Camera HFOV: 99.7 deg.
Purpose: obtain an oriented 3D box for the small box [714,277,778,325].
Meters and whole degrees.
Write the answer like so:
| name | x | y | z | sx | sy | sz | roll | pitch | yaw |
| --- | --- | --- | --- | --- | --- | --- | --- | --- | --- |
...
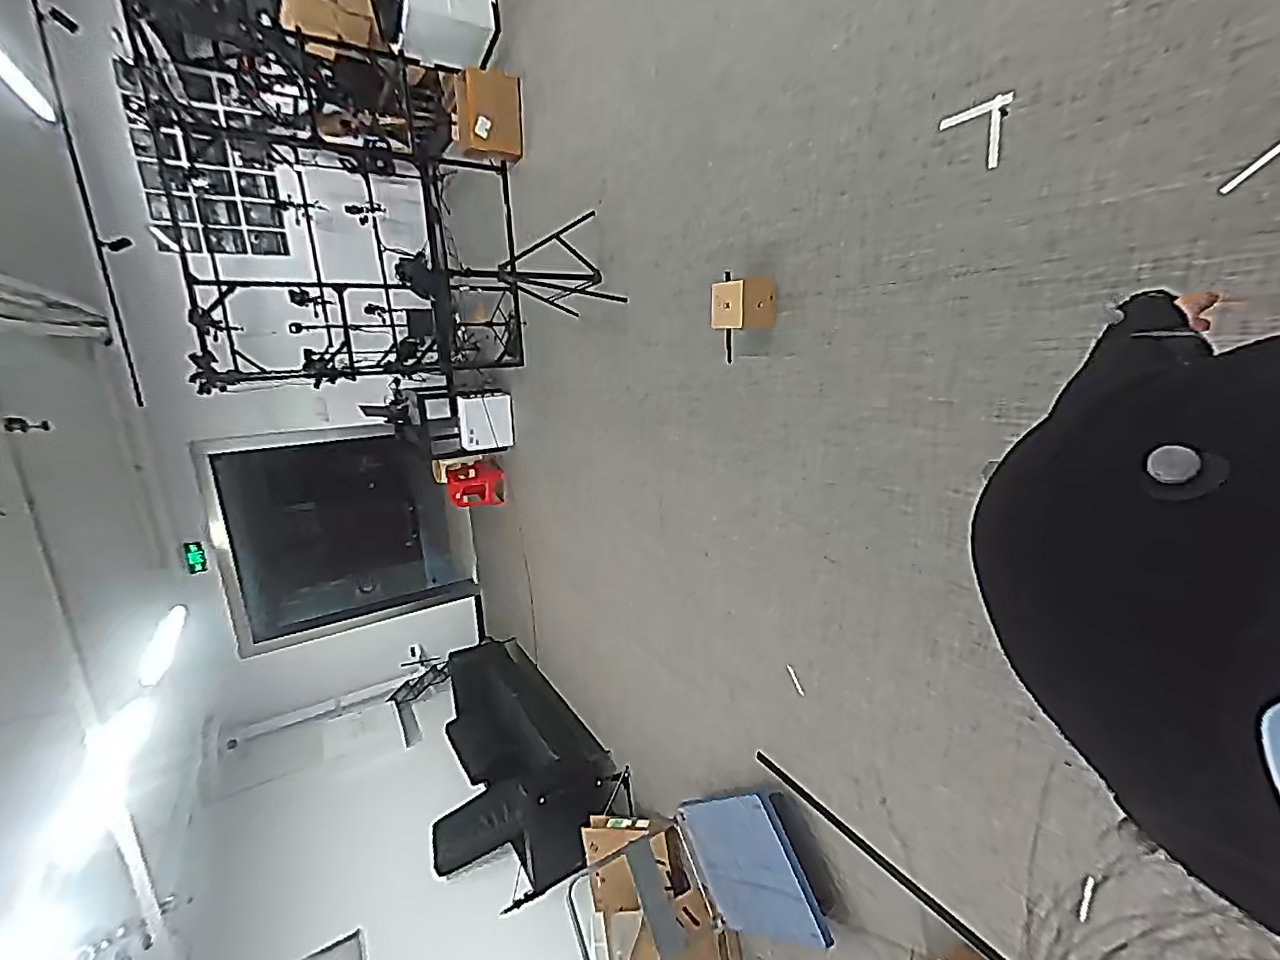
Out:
| name | x | y | z | sx | sy | sz | roll | pitch | yaw |
| --- | --- | --- | --- | --- | --- | --- | --- | --- | --- |
| small box | 0.396 | -0.669 | 2.028 | 0.179 | 0.176 | 0.168 | 24 | 119 | 55 |
